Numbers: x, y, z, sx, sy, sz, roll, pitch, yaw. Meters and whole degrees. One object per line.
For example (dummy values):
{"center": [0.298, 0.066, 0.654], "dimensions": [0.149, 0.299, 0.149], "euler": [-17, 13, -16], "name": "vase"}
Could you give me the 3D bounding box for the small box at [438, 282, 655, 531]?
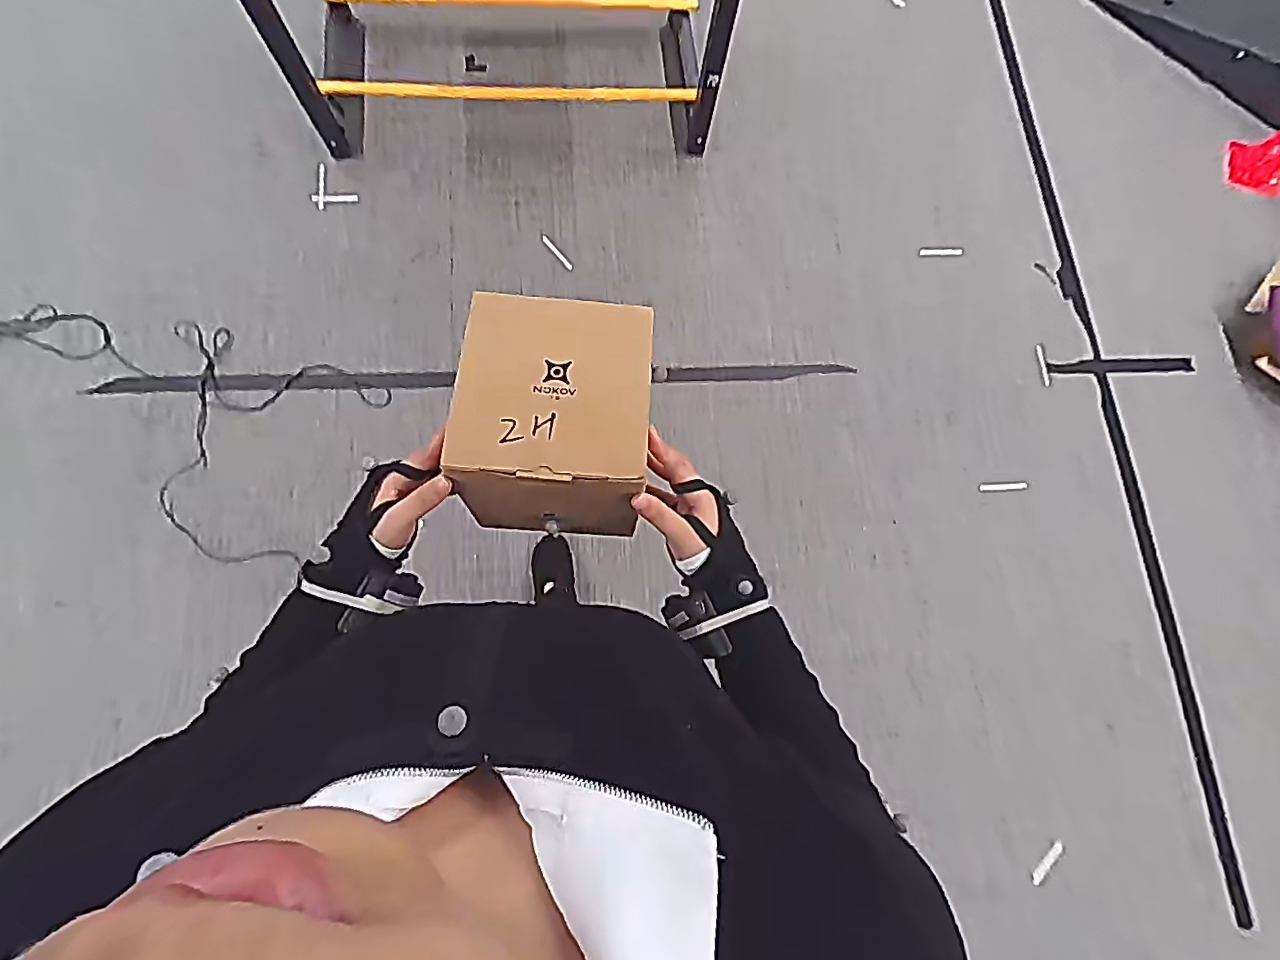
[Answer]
{"center": [-0.079, -0.062, 0.532], "dimensions": [0.168, 0.176, 0.179], "euler": [4, 68, -2], "name": "small box"}
